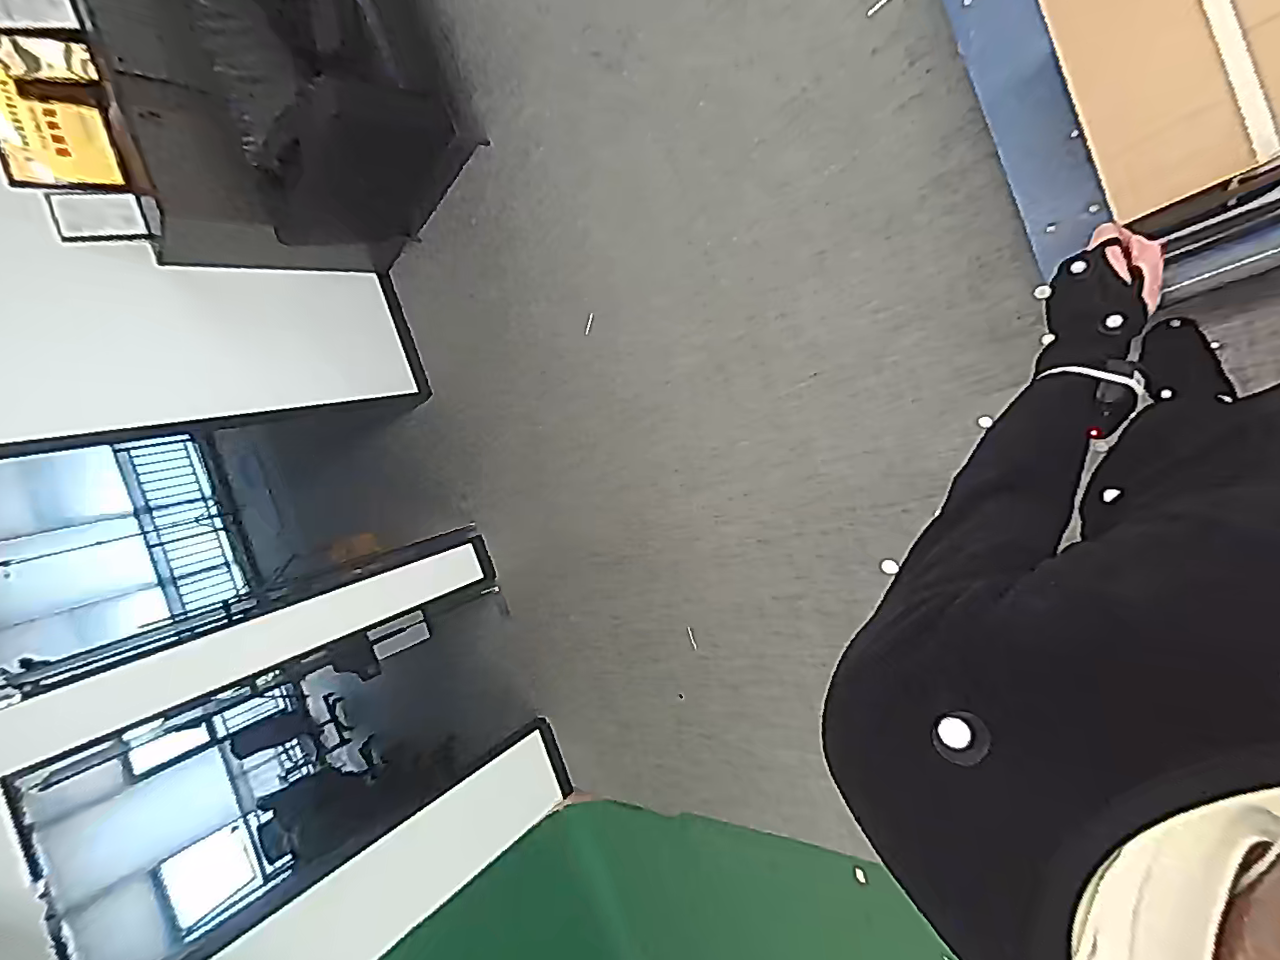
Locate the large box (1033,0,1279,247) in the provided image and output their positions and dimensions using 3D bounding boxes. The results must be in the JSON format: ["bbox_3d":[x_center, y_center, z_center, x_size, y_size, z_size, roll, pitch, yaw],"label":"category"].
[{"bbox_3d":[0.871,-0.632,0.825,0.320,0.320,0.408,-19,88,45],"label":"large box"}]
